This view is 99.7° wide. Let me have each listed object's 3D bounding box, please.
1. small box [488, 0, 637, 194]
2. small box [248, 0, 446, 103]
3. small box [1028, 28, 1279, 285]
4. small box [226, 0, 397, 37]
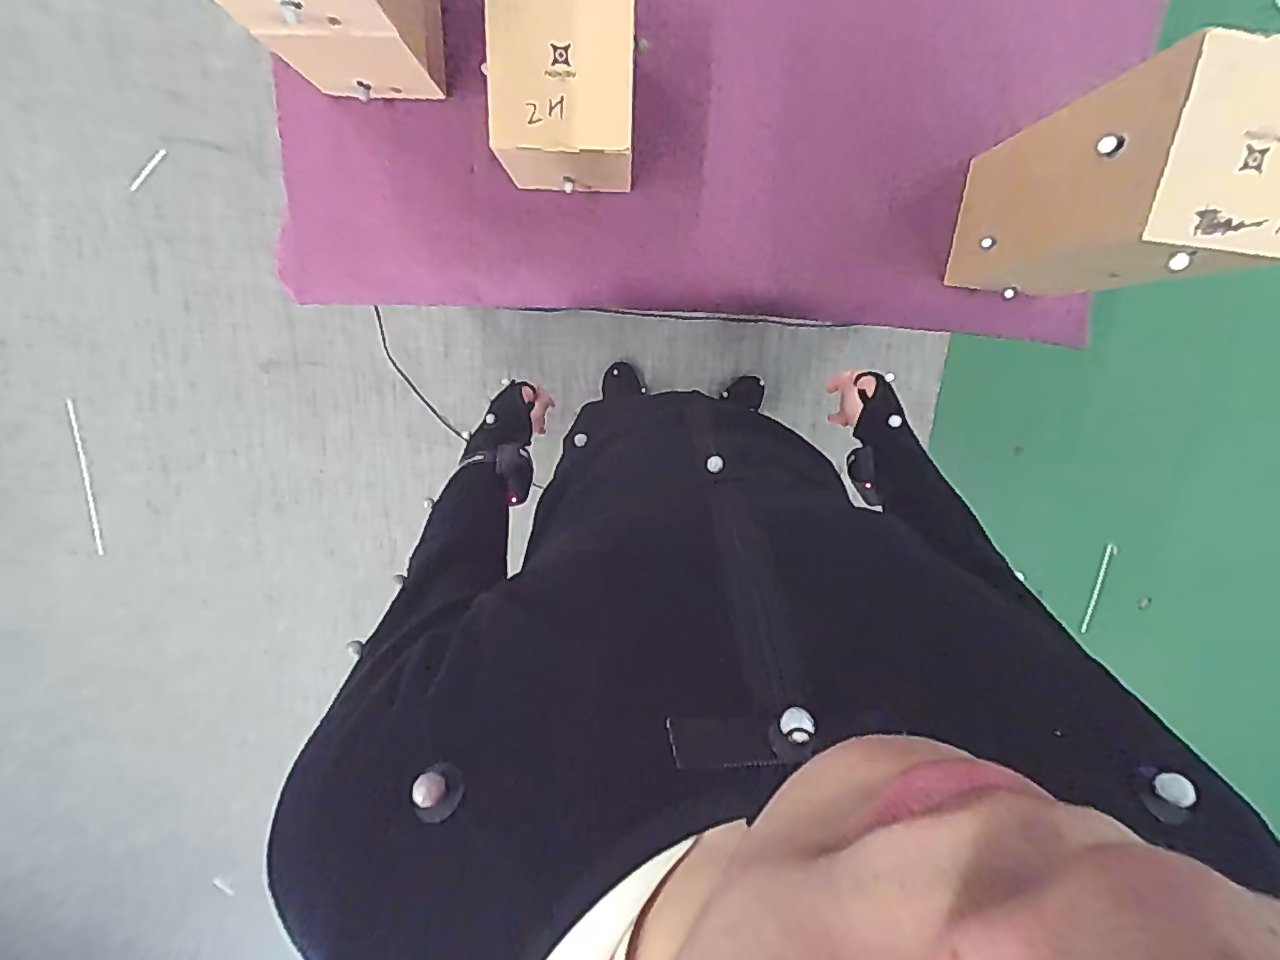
[{"bbox_3d":[-0.091,-0.485,0.686,0.168,0.176,0.179,2,104,-1],"label":"small box"},{"bbox_3d":[-0.348,-0.594,0.655,0.168,0.176,0.179,1,105,-1],"label":"small box"},{"bbox_3d":[0.554,-0.315,0.566,0.168,0.176,0.179,7,102,-1],"label":"small box"},{"bbox_3d":[-0.344,-0.556,0.496,0.168,0.176,0.179,0,105,0],"label":"small box"}]
